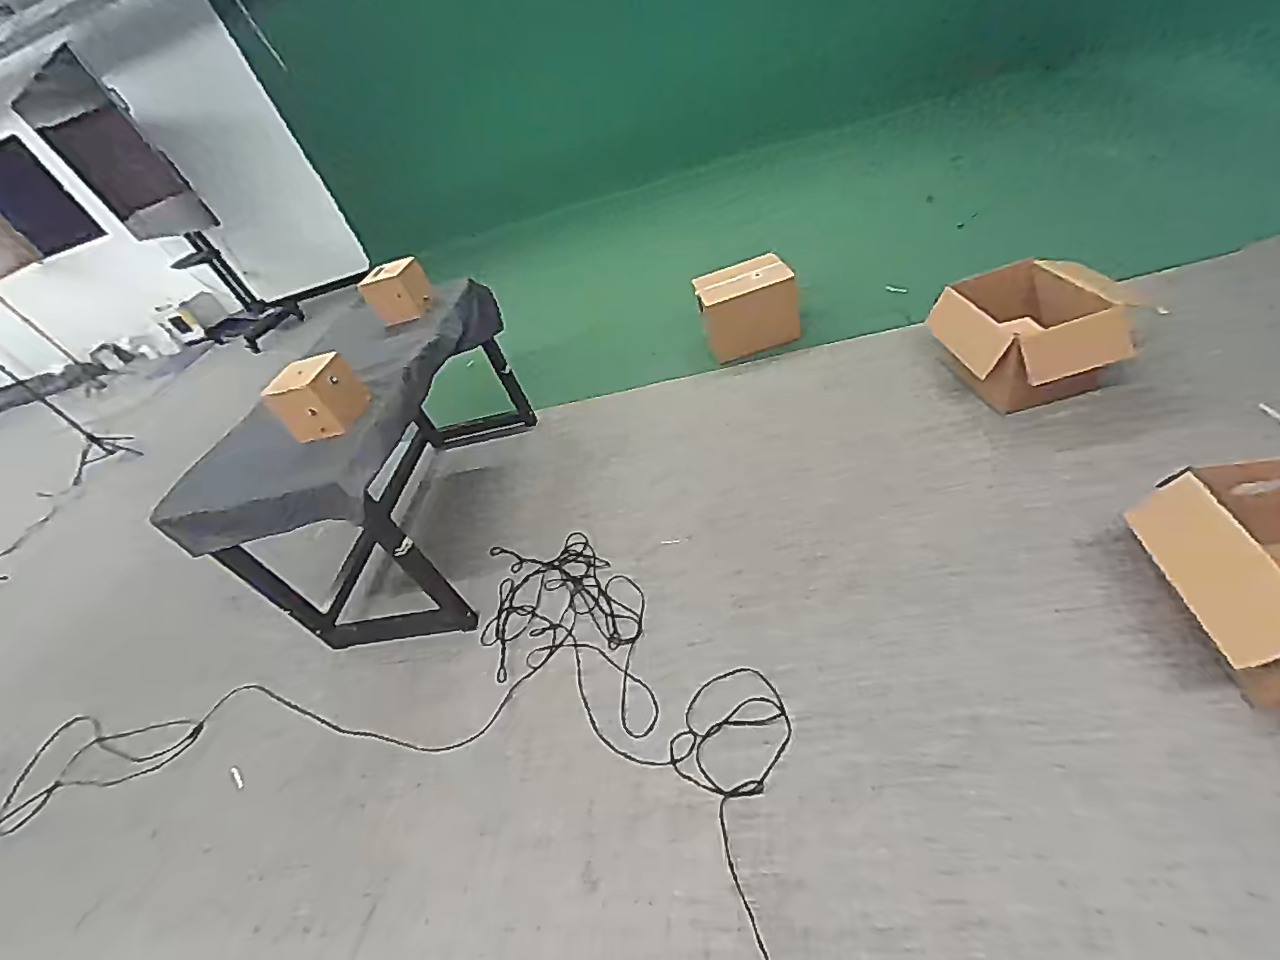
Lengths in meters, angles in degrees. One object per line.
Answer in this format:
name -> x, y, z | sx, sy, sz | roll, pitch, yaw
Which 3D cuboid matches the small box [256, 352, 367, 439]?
small box -> -0.910, -0.230, 1.518 | 0.168, 0.176, 0.179 | -9, 41, 13
